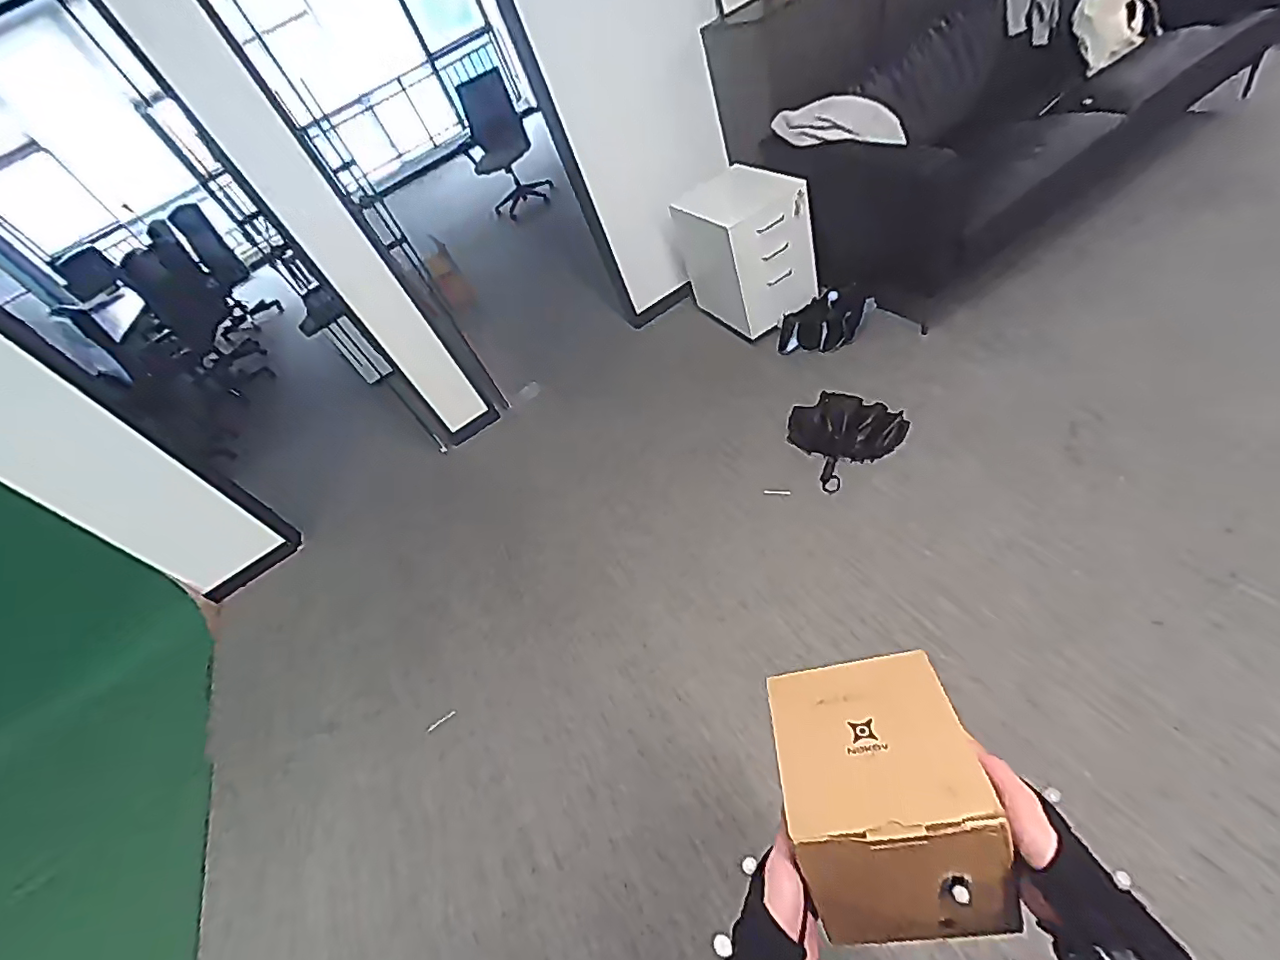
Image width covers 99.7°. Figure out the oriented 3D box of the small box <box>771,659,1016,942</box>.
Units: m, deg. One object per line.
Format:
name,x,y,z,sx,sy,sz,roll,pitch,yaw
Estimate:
small box,0.235,0.309,0.525,0.168,0.176,0.179,-14,22,13
